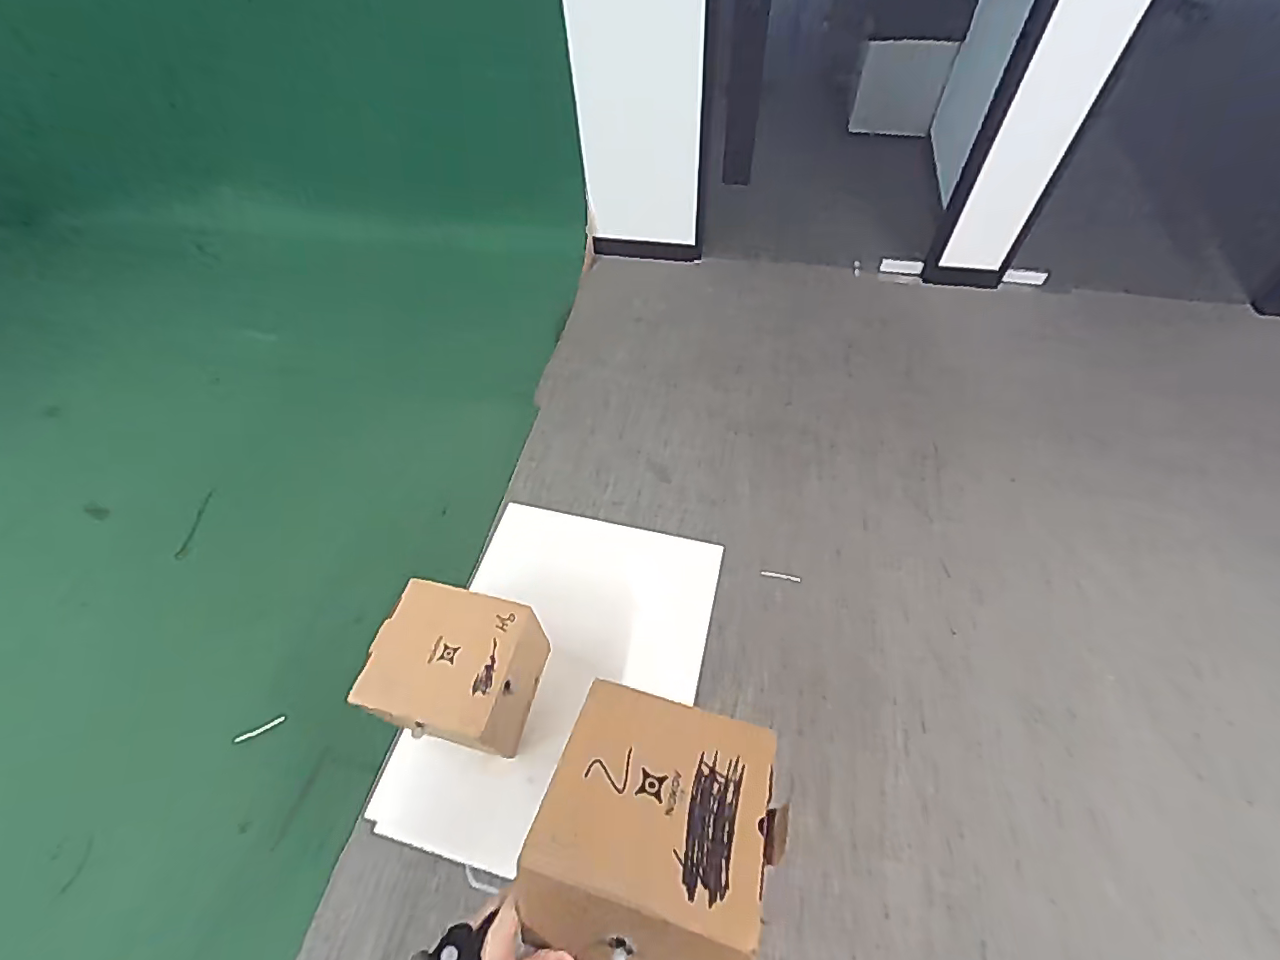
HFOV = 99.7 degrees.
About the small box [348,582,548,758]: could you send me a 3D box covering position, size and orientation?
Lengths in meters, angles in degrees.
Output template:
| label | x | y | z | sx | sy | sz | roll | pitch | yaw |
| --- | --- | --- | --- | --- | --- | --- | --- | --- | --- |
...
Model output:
| label | x | y | z | sx | sy | sz | roll | pitch | yaw |
| --- | --- | --- | --- | --- | --- | --- | --- | --- | --- |
| small box | -0.243 | 0.263 | 0.735 | 0.179 | 0.176 | 0.168 | 11 | 57 | 9 |
